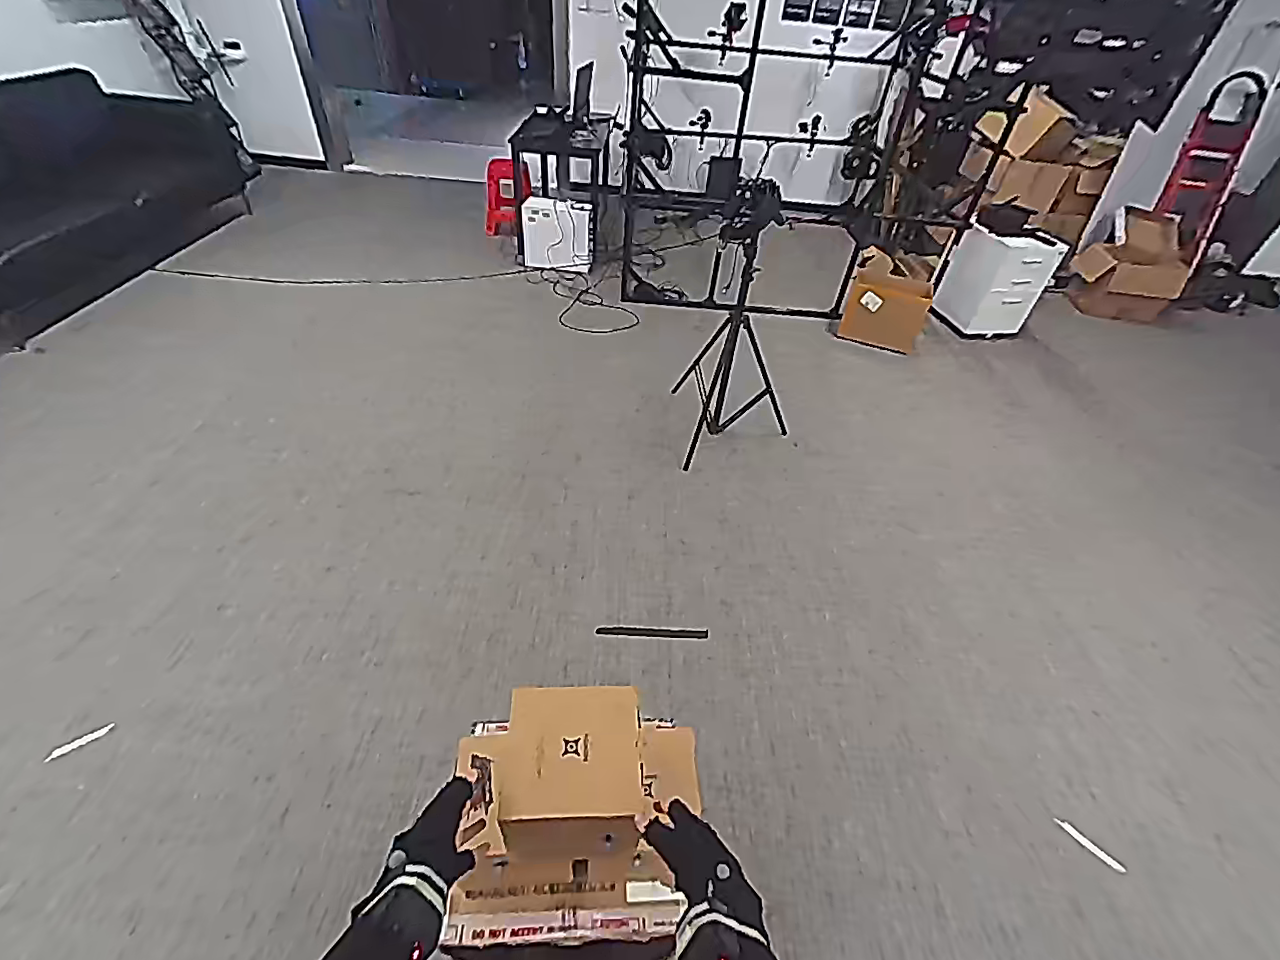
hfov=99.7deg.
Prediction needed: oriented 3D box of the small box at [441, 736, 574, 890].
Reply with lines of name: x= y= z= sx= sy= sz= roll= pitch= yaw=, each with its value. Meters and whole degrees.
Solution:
small box: x=-0.194 y=0.519 z=0.847 sx=0.179 sy=0.176 sz=0.168 roll=-1 pitch=41 yaw=-7

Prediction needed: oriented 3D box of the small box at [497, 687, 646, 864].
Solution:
small box: x=-0.090 y=0.404 z=0.741 sx=0.179 sy=0.176 sz=0.168 roll=0 pitch=40 yaw=-6

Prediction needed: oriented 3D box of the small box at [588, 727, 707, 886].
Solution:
small box: x=0.002 y=0.522 z=0.867 sx=0.168 sy=0.176 sz=0.179 roll=3 pitch=40 yaw=-6
